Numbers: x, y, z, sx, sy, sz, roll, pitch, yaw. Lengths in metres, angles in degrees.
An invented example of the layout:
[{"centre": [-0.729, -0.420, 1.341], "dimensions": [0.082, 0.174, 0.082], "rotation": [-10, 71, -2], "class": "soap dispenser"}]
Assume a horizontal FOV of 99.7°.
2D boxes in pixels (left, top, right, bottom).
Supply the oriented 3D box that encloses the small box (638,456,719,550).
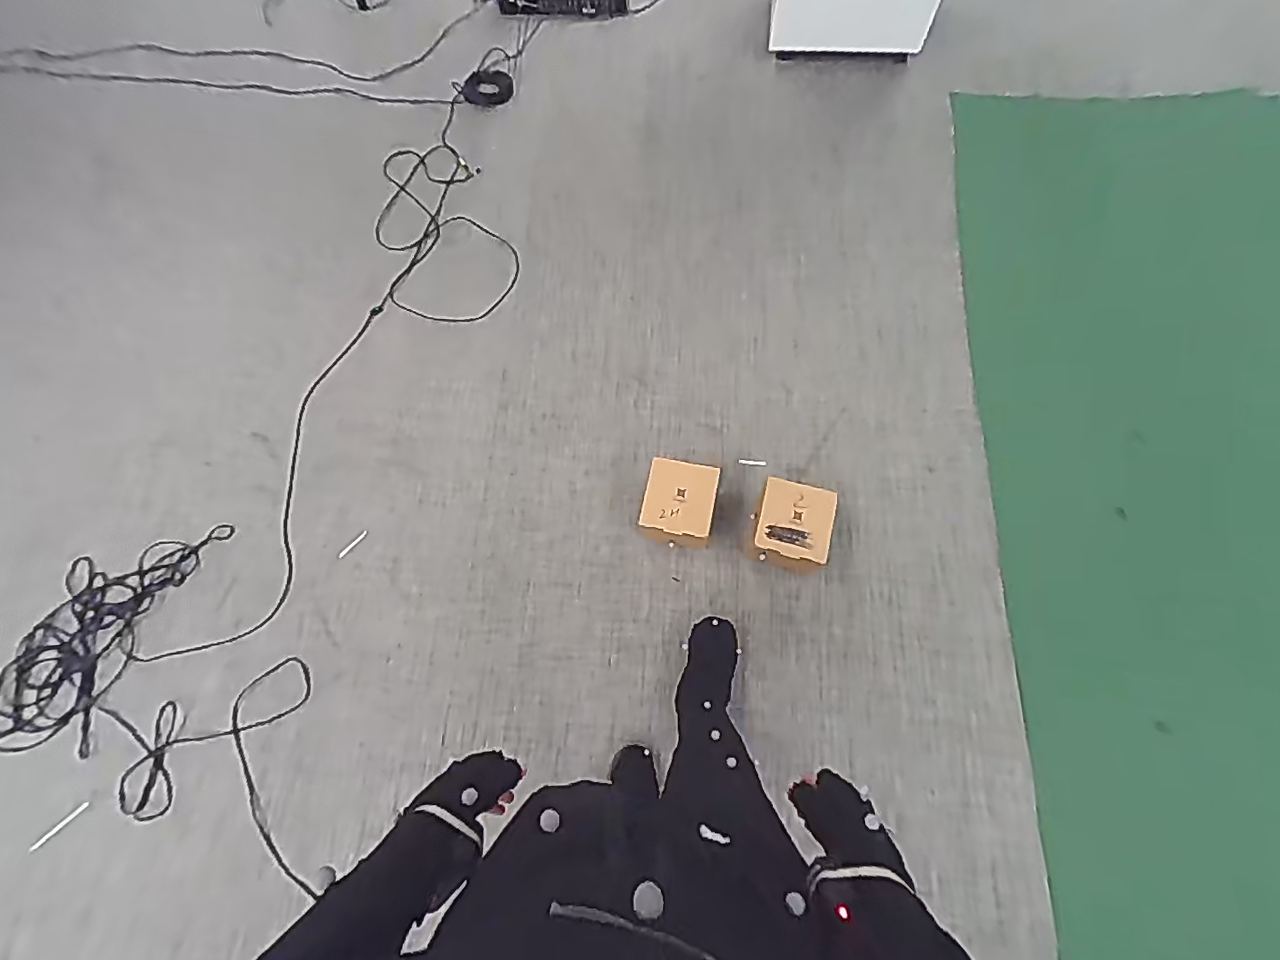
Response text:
[{"centre": [0.095, 0.063, 1.346], "dimensions": [0.168, 0.176, 0.179], "rotation": [11, 73, 8], "class": "small box"}]
